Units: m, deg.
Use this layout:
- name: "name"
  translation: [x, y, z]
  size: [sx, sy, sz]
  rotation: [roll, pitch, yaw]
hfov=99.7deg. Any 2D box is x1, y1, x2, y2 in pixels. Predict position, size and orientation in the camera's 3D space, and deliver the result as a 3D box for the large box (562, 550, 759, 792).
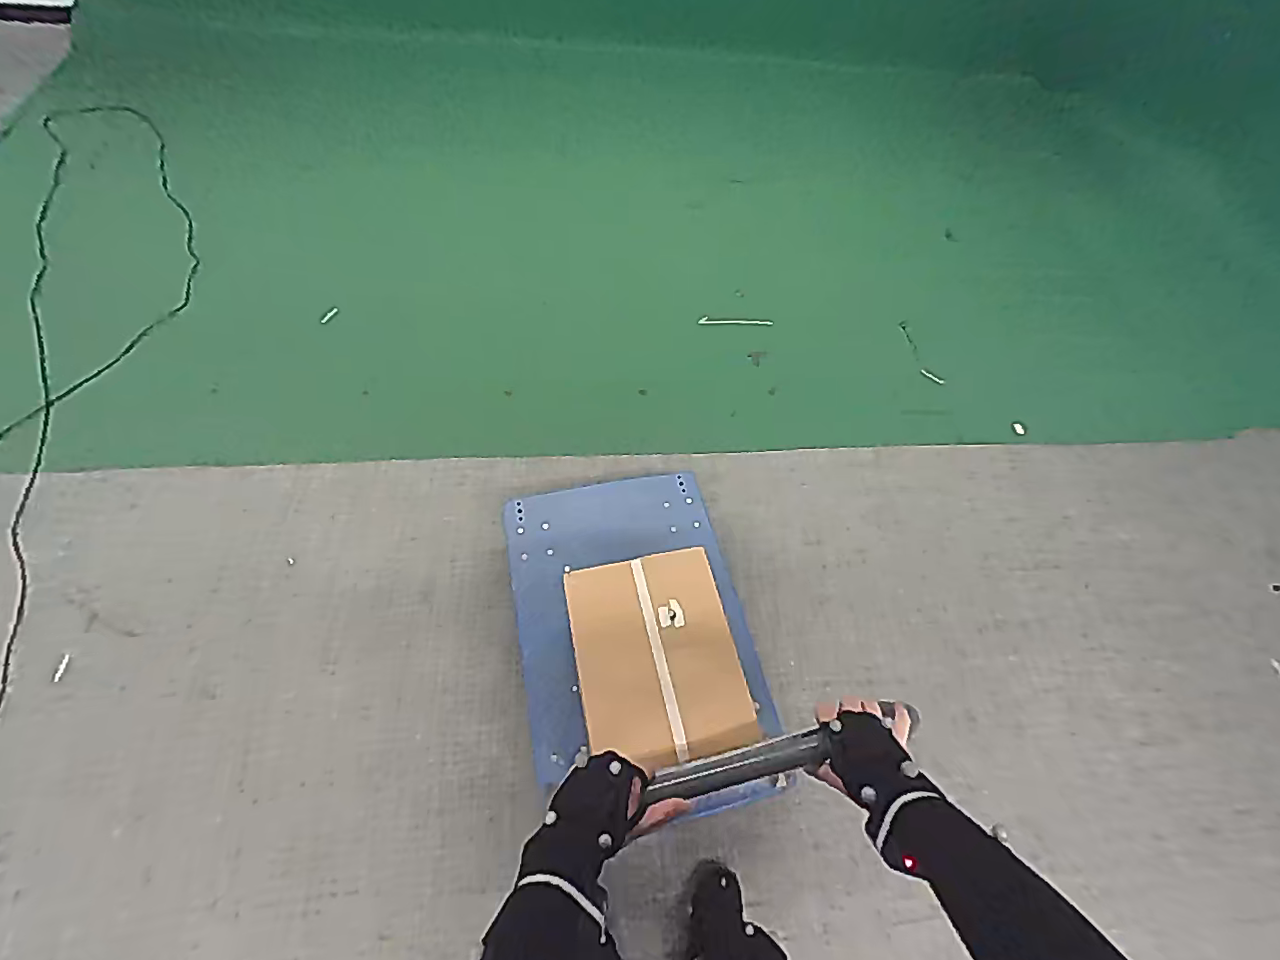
- name: "large box"
  translation: [0.023, 0.424, 1.203]
  size: [0.320, 0.320, 0.408]
  rotation: [-9, 58, -11]
